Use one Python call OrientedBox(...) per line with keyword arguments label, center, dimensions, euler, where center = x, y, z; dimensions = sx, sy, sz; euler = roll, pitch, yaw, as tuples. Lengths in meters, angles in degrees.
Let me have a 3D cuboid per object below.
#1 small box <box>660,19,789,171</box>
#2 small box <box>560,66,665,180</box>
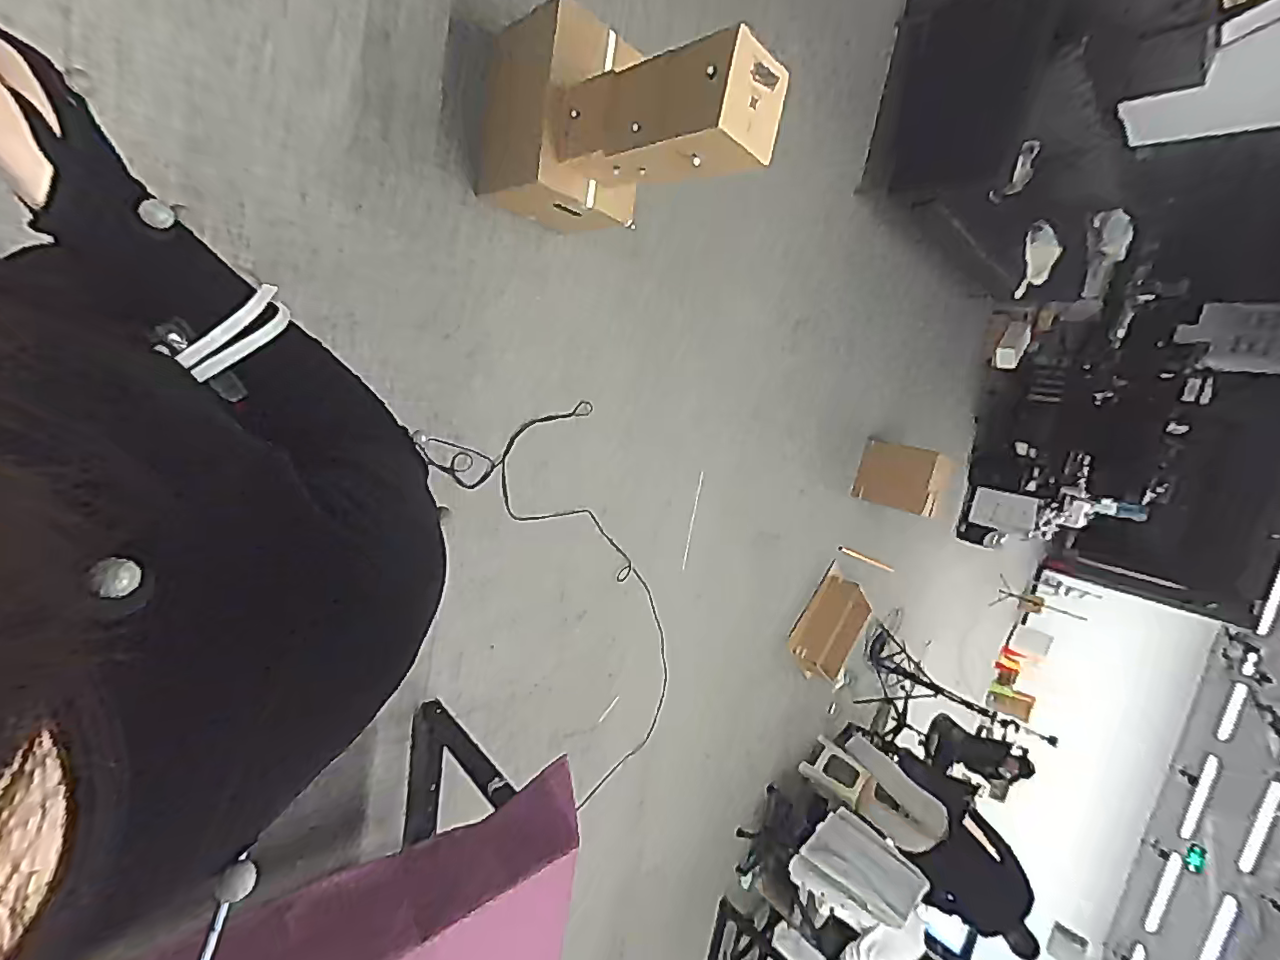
OrientedBox(label="small box", center=(0.161, -0.739, 1.063), dimensions=(0.168, 0.176, 0.179), euler=(3, 104, -44))
OrientedBox(label="small box", center=(-0.064, -0.833, 1.284), dimensions=(0.179, 0.176, 0.168), euler=(-2, 105, -43))
